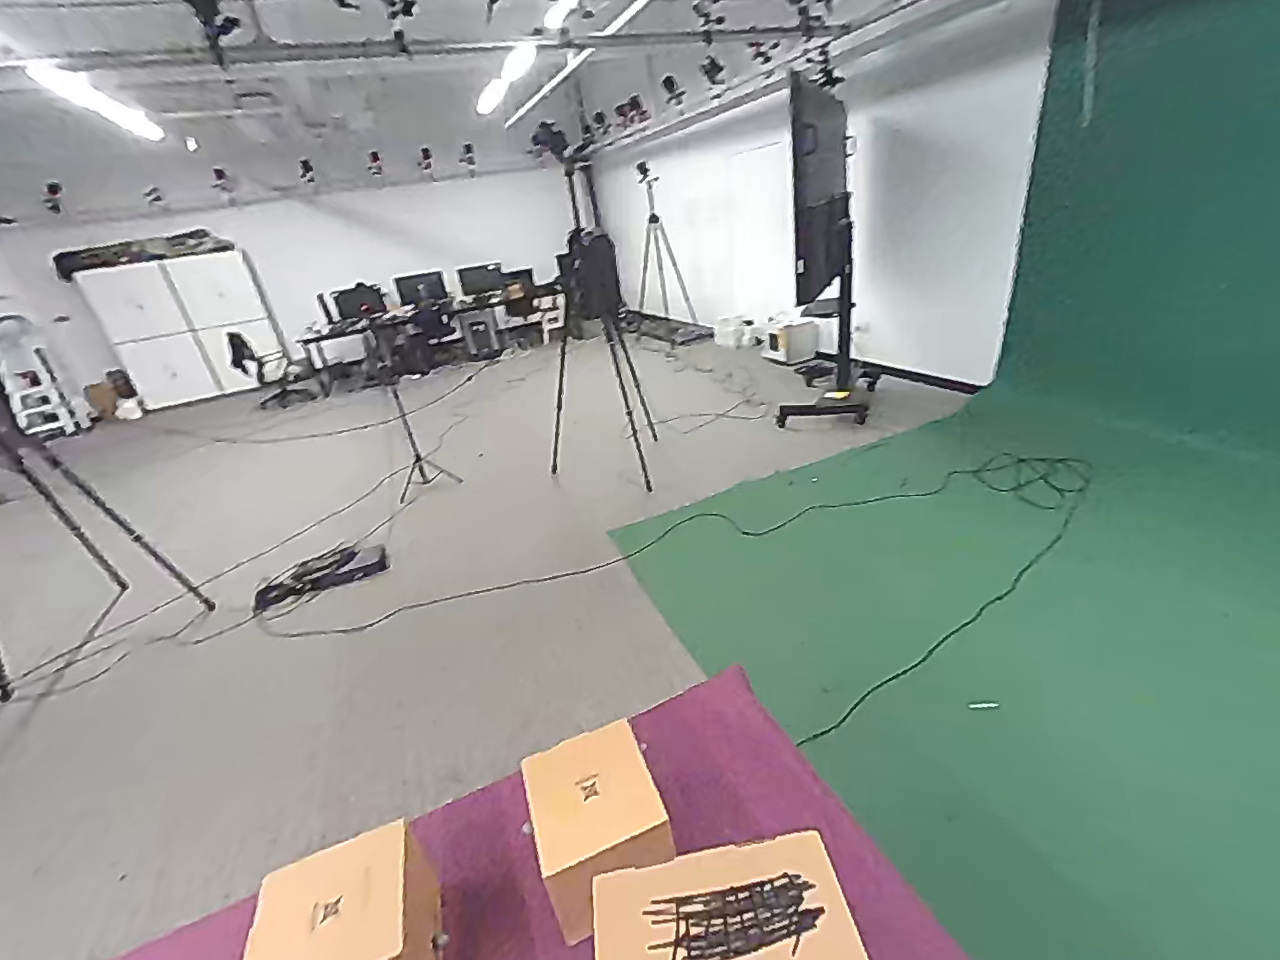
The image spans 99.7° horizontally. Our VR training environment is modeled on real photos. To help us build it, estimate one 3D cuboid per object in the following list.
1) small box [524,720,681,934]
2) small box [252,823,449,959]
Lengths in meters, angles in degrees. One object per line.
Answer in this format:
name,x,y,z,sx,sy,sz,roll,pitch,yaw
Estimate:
small box,-0.053,0.493,0.769,0.168,0.176,0.179,-17,26,-14
small box,-0.353,0.590,0.679,0.179,0.176,0.168,-16,27,-15
